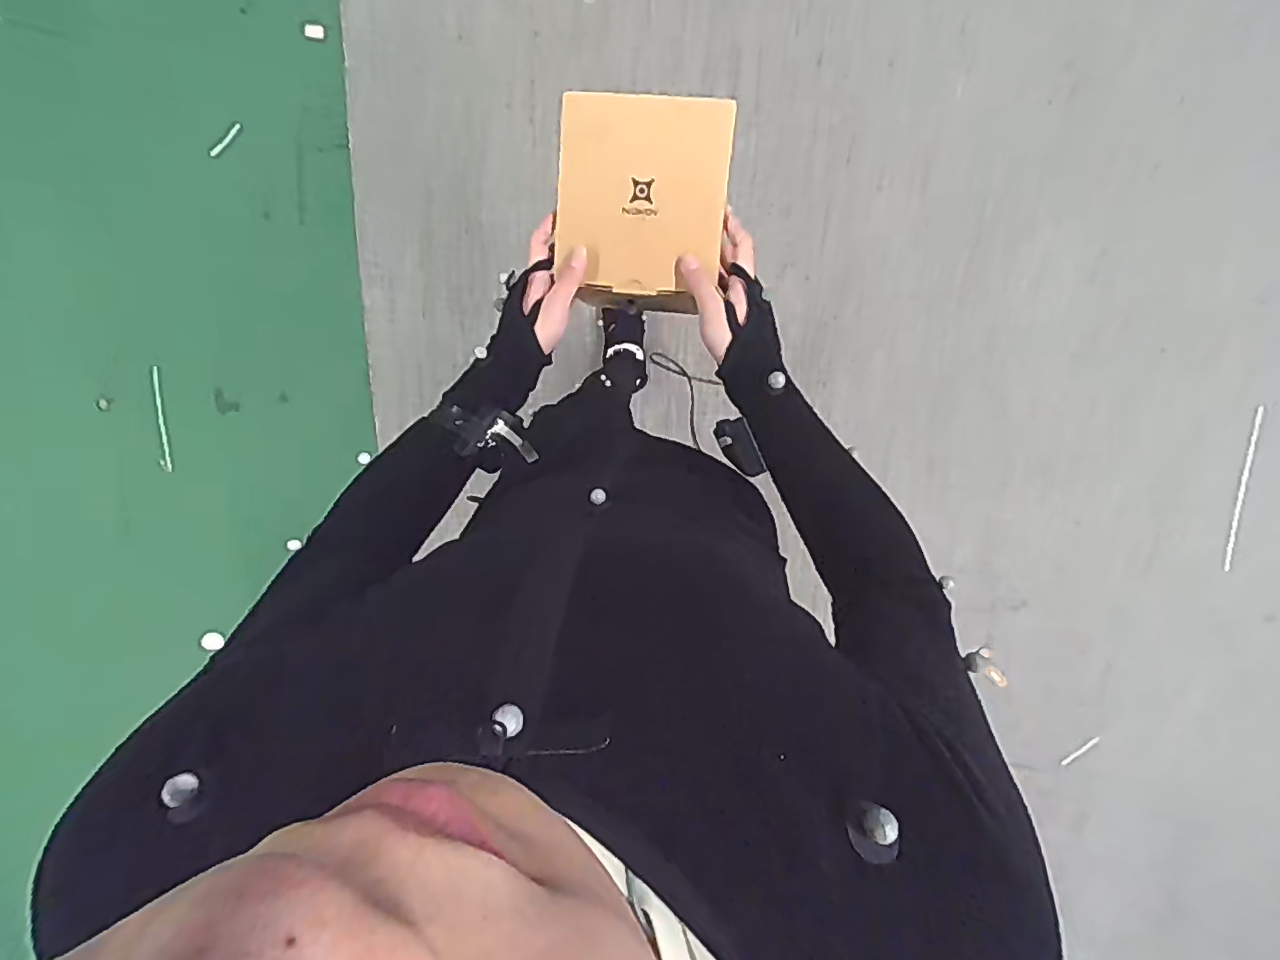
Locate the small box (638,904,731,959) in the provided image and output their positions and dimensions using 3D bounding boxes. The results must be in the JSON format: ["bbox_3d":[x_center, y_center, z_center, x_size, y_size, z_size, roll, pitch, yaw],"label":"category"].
[{"bbox_3d":[0.078,0.908,0.961,0.168,0.176,0.179,0,101,2],"label":"small box"}]

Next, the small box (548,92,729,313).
[{"bbox_3d":[0.002,-0.292,0.605,0.168,0.176,0.179,6,102,4],"label":"small box"}]
